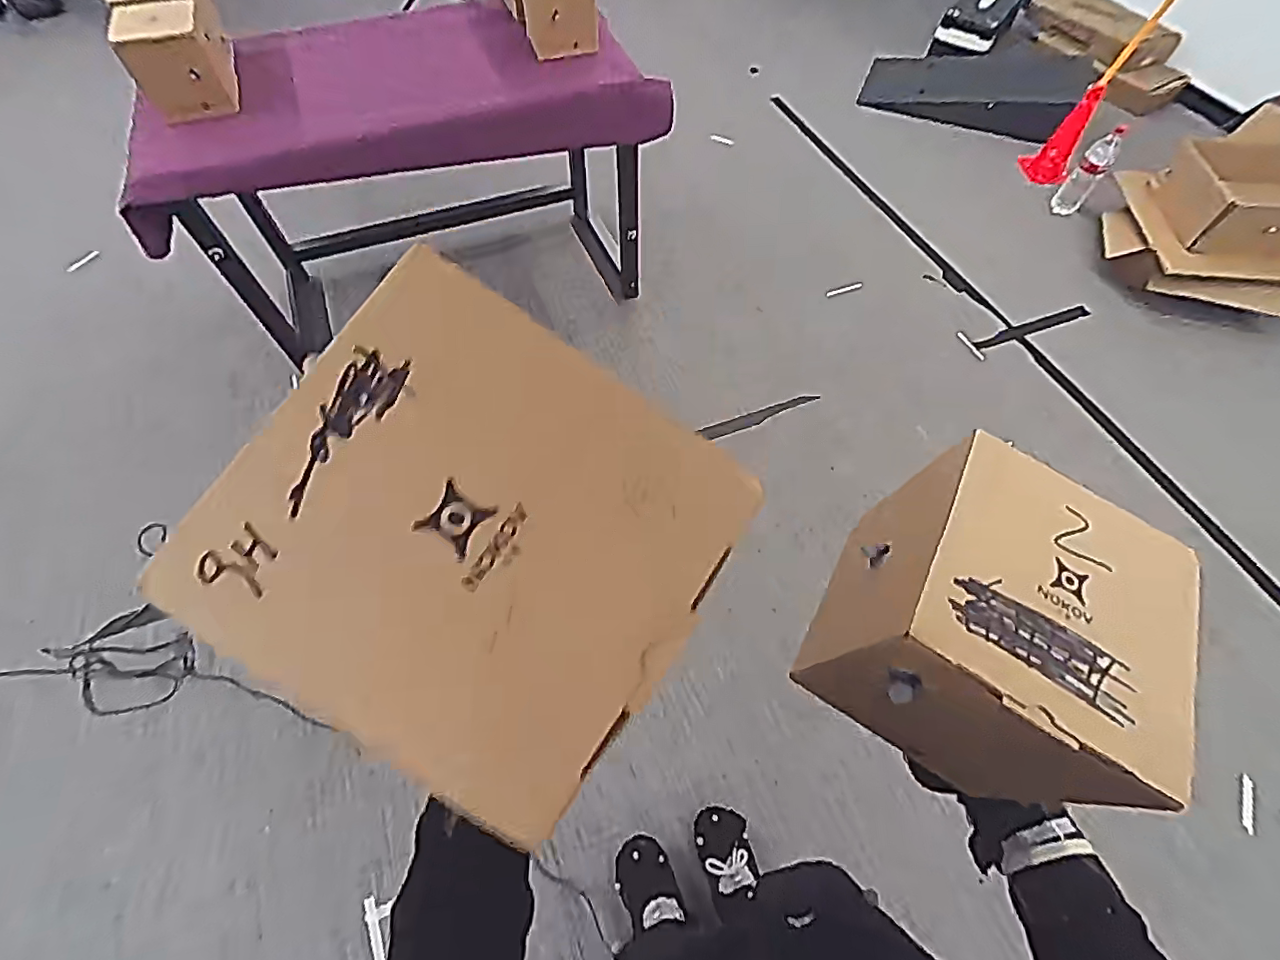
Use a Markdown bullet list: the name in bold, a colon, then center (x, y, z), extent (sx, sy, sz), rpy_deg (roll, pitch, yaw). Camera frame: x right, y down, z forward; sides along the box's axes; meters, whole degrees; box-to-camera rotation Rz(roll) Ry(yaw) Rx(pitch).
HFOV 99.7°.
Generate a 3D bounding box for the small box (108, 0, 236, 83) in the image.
- **small box**: center (-1.145, -1.117, 1.337), extent (0.179, 0.176, 0.168), rpy_deg (-17, 64, -11)

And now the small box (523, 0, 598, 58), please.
- **small box**: center (-0.214, -1.245, 1.425), extent (0.168, 0.176, 0.179), rpy_deg (-15, 61, -8)

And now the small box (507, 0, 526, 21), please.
- **small box**: center (-0.297, -1.429, 1.519), extent (0.179, 0.176, 0.168), rpy_deg (-18, 64, -11)

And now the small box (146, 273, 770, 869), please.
- **small box**: center (-0.069, 0.038, 0.285), extent (0.179, 0.176, 0.168), rpy_deg (34, 81, -1)
